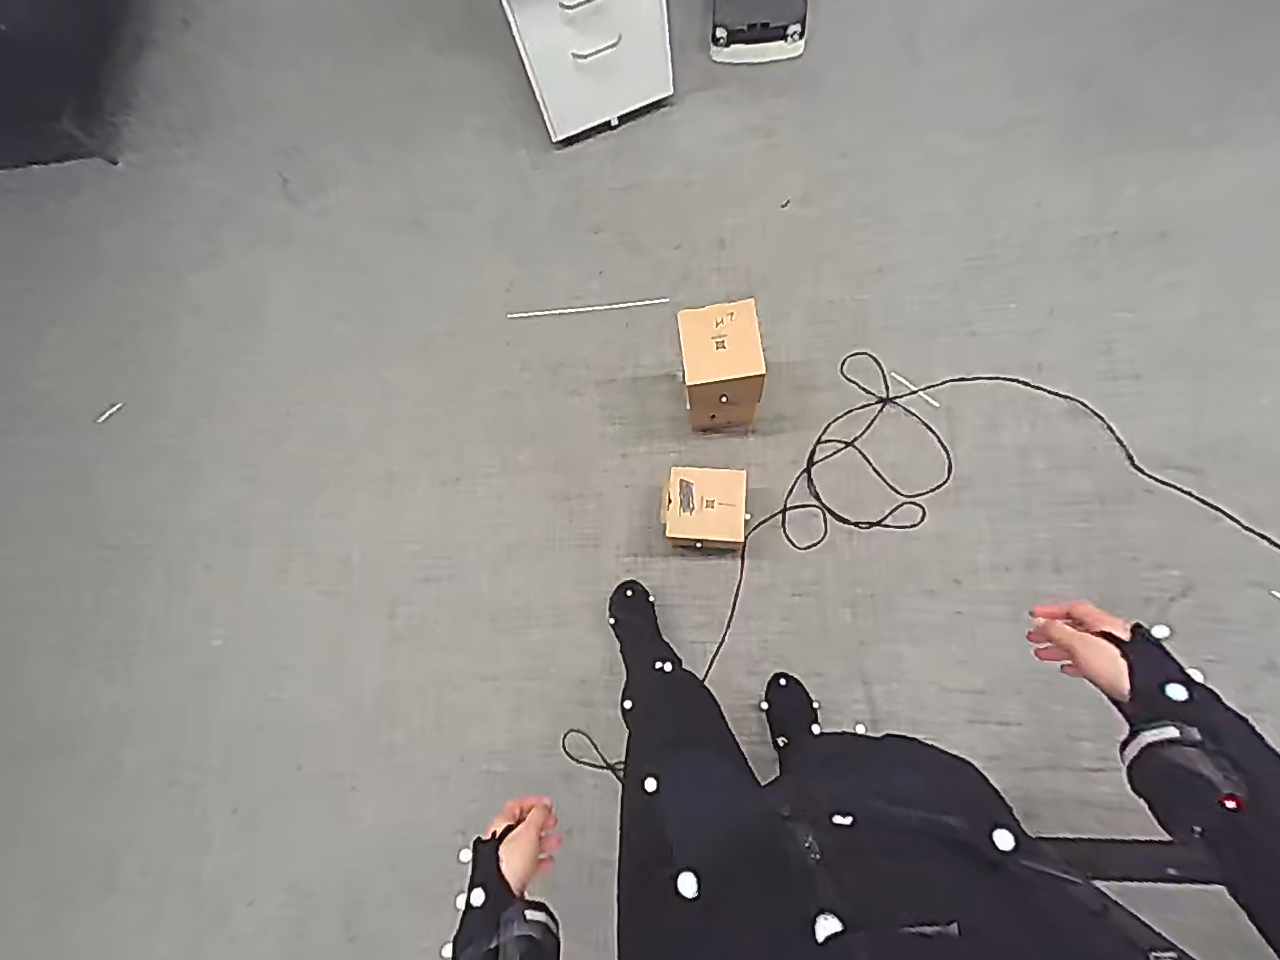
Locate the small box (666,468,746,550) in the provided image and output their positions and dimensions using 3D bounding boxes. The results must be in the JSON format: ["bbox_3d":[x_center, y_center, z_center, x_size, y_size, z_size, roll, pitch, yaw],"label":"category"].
[{"bbox_3d":[0.162,0.074,1.303,0.179,0.176,0.168,3,77,9],"label":"small box"}]

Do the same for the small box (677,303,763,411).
[{"bbox_3d":[0.179,-0.264,1.213,0.168,0.176,0.179,-7,75,7],"label":"small box"}]

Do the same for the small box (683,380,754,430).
[{"bbox_3d":[0.199,-0.233,1.374,0.168,0.176,0.179,-6,75,8],"label":"small box"}]
